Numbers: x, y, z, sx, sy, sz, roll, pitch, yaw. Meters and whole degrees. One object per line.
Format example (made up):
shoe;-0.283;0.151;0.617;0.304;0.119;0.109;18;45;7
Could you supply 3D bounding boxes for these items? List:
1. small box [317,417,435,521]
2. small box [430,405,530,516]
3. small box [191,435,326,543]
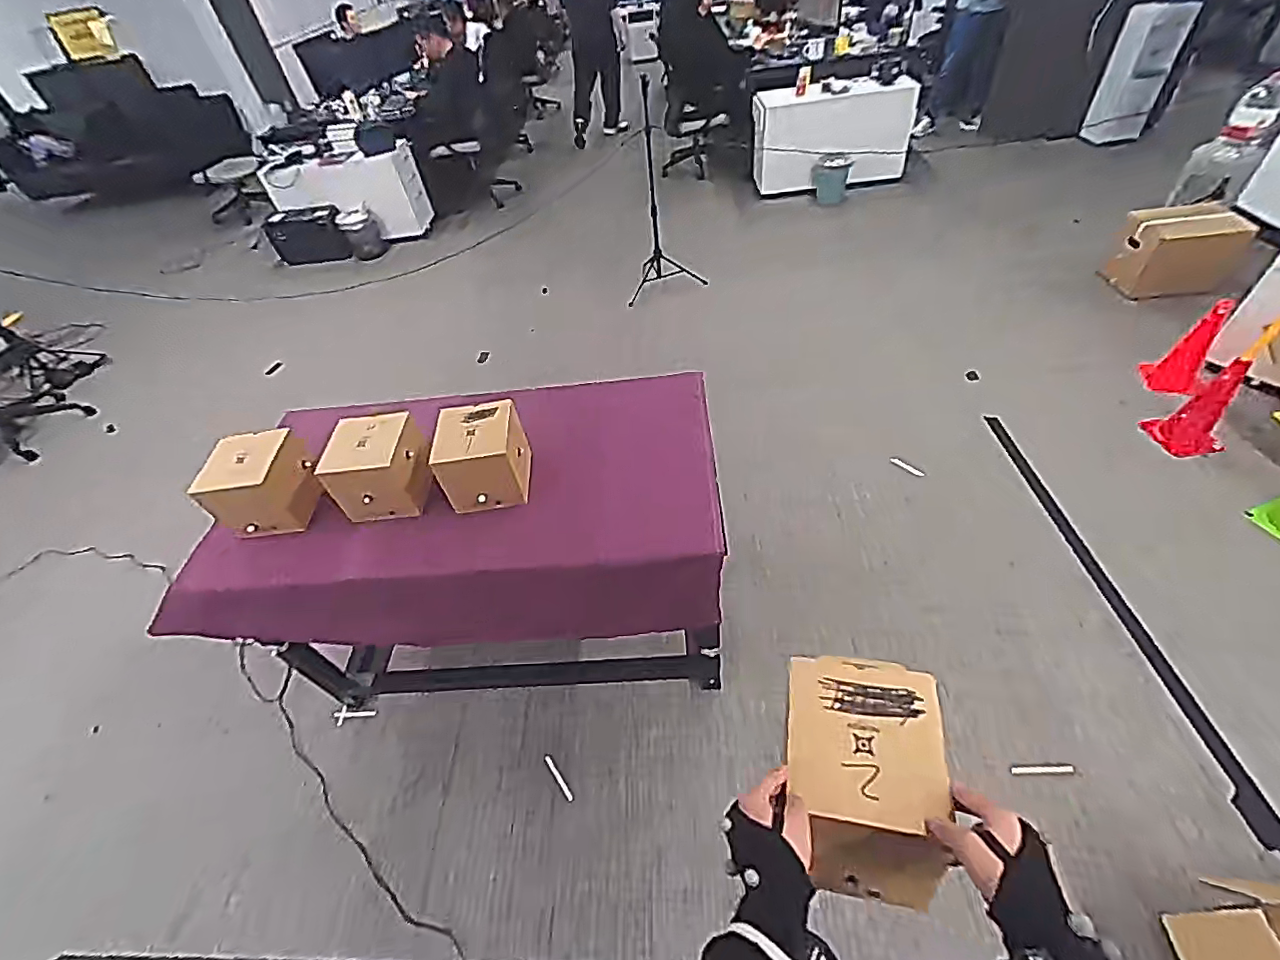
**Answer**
small box;-0.593;-0.019;1.245;0.168;0.176;0.179;-6;46;3
small box;-0.353;-0.044;1.232;0.168;0.176;0.179;-9;47;1
small box;-0.865;0.021;1.251;0.168;0.176;0.179;-8;46;2
